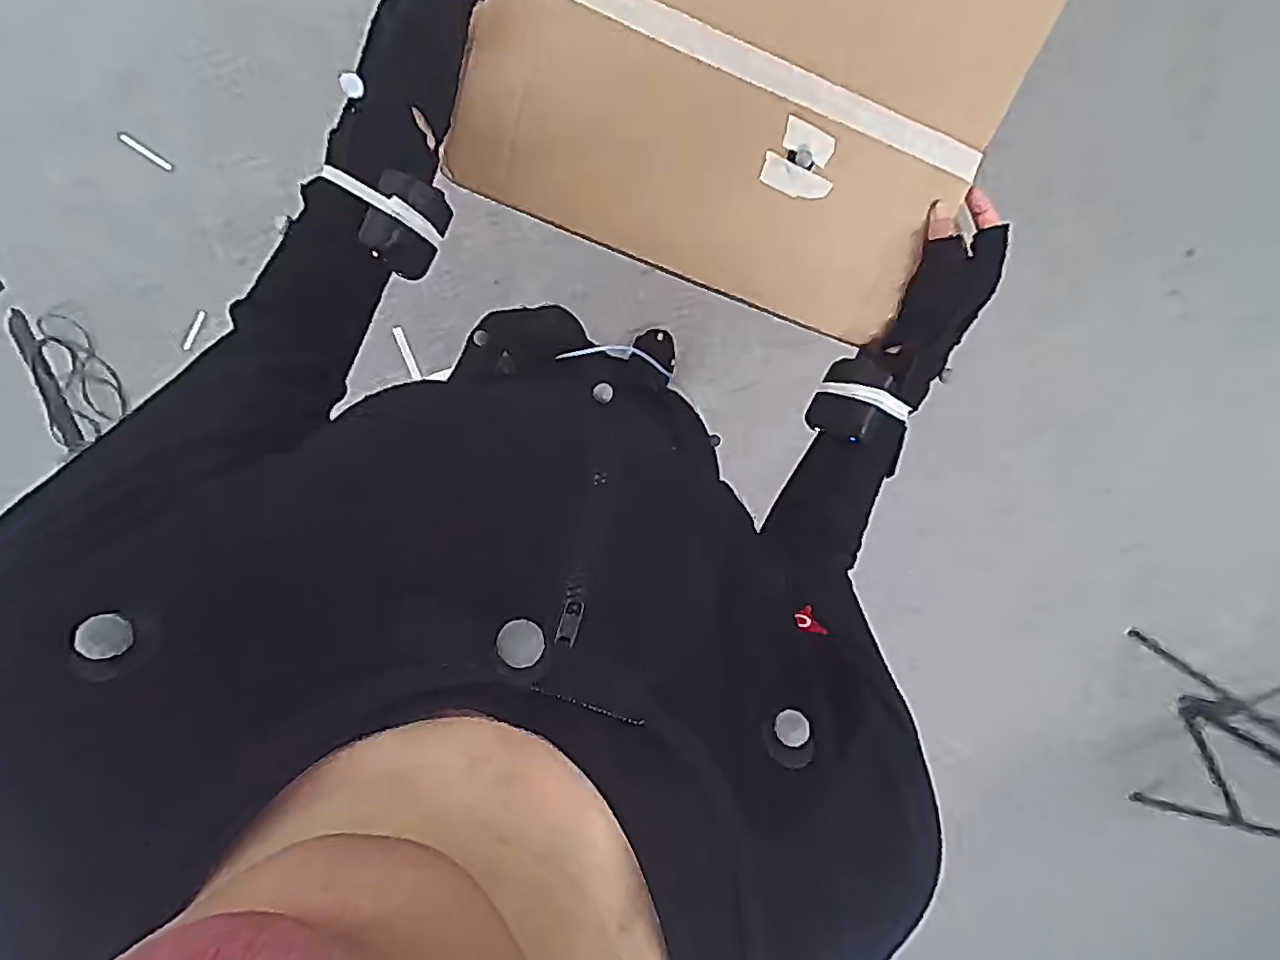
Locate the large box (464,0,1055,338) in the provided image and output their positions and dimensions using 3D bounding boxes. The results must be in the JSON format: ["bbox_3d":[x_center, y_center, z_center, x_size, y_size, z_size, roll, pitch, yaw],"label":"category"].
[{"bbox_3d":[0.084,-0.379,0.559,0.408,0.320,0.320,19,112,-9],"label":"large box"}]
